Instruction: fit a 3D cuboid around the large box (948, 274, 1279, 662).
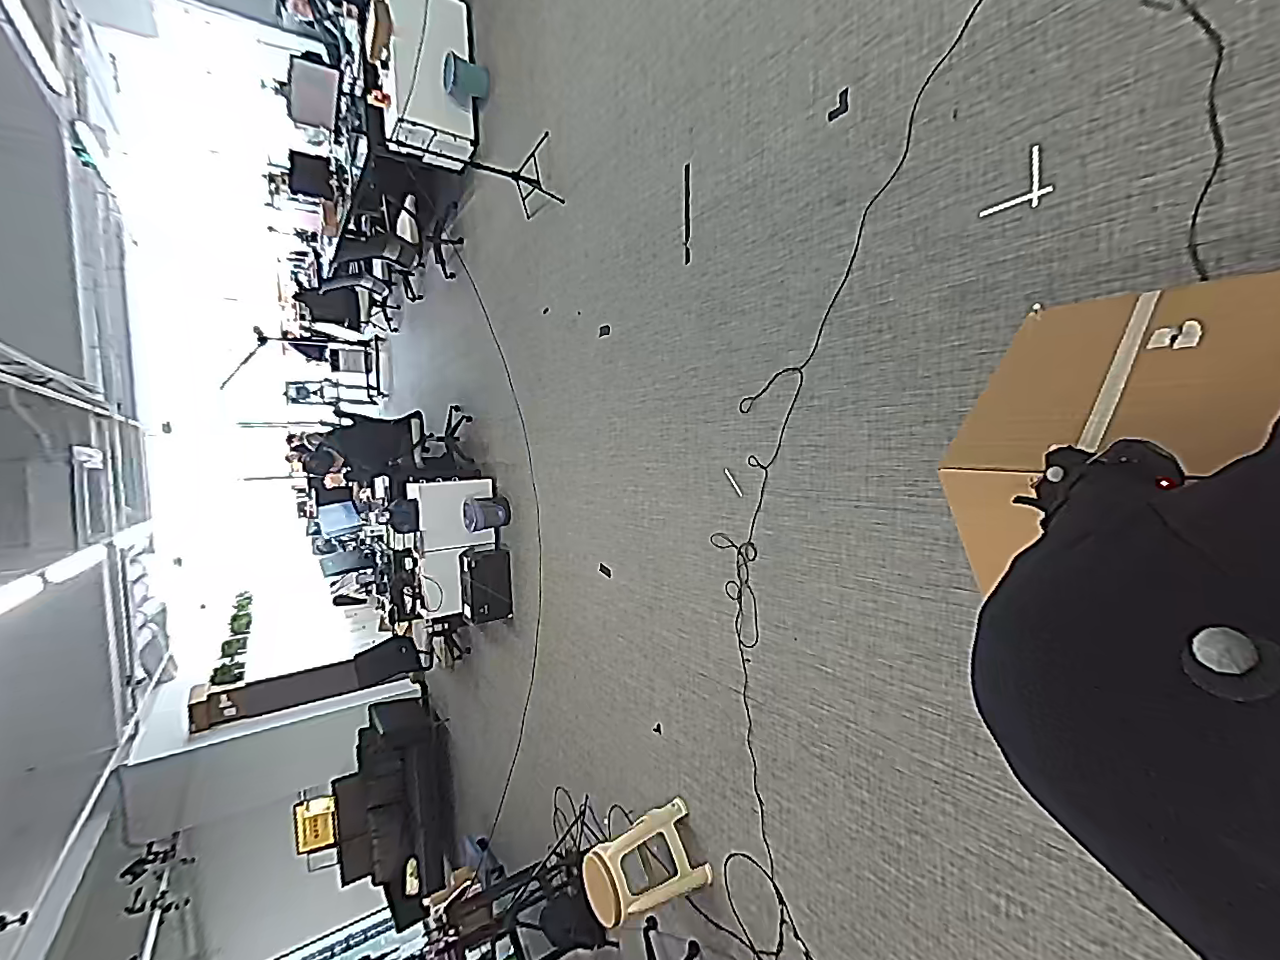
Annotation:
[{"bbox_3d":[0.709,-0.027,0.772,0.320,0.408,0.320,7,137,52],"label":"large box"}]
